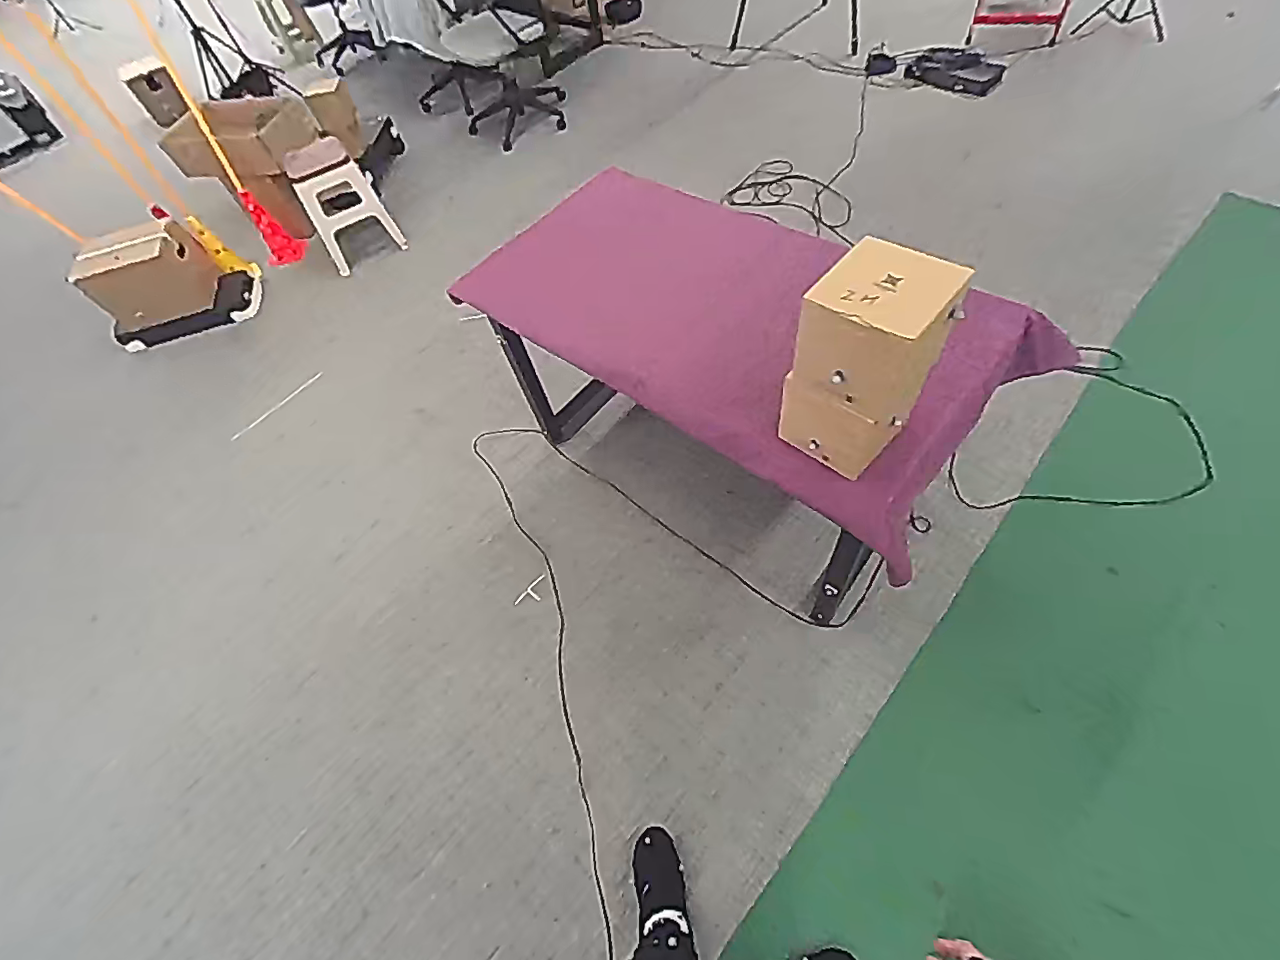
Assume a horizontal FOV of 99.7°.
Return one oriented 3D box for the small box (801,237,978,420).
[{"bbox_3d":[0.362,-0.226,0.820,0.168,0.176,0.179,35,69,28],"label":"small box"}]
